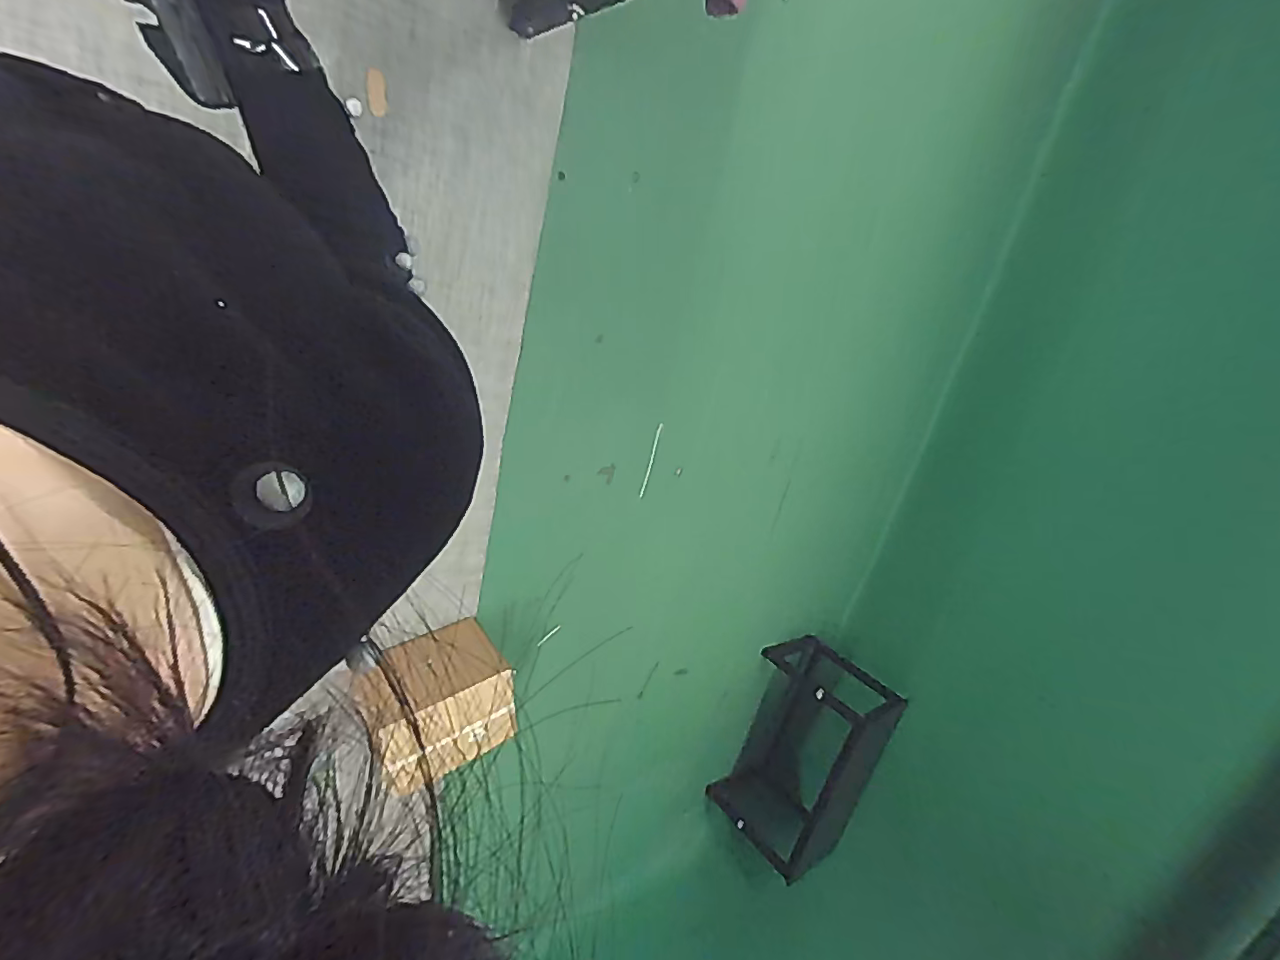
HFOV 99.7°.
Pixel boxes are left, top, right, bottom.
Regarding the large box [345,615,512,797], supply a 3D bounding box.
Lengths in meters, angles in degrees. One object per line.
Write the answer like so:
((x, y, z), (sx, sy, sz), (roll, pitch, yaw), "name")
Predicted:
((-0.678, 0.709, 1.759), (0.408, 0.320, 0.320), (-18, 124, -36), "large box")
